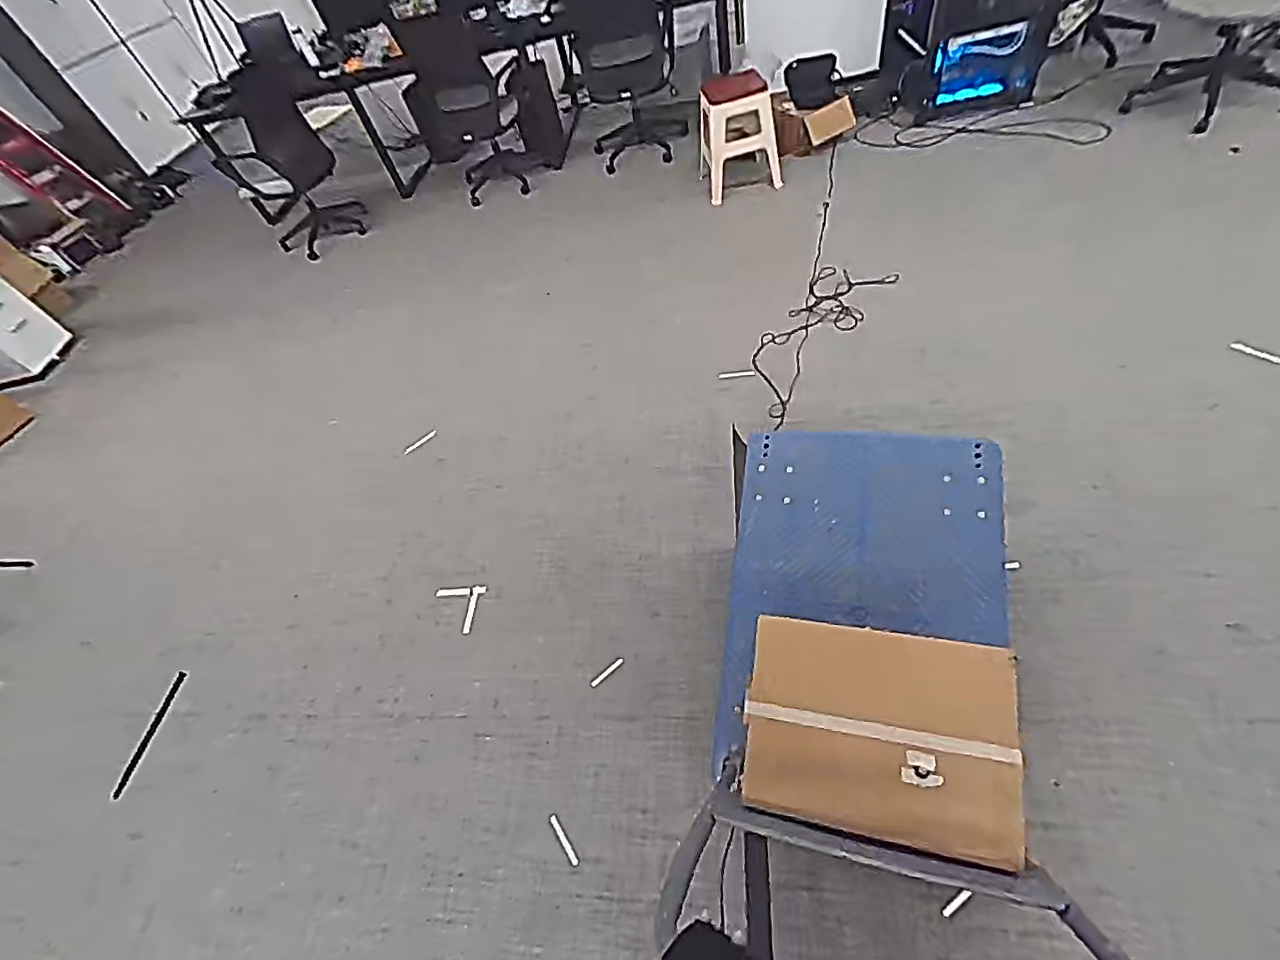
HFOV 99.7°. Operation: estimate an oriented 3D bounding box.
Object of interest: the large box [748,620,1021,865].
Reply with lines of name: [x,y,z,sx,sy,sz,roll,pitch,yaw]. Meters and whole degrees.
large box: [0.426,0.458,1.025,0.408,0.320,0.320,4,73,17]
